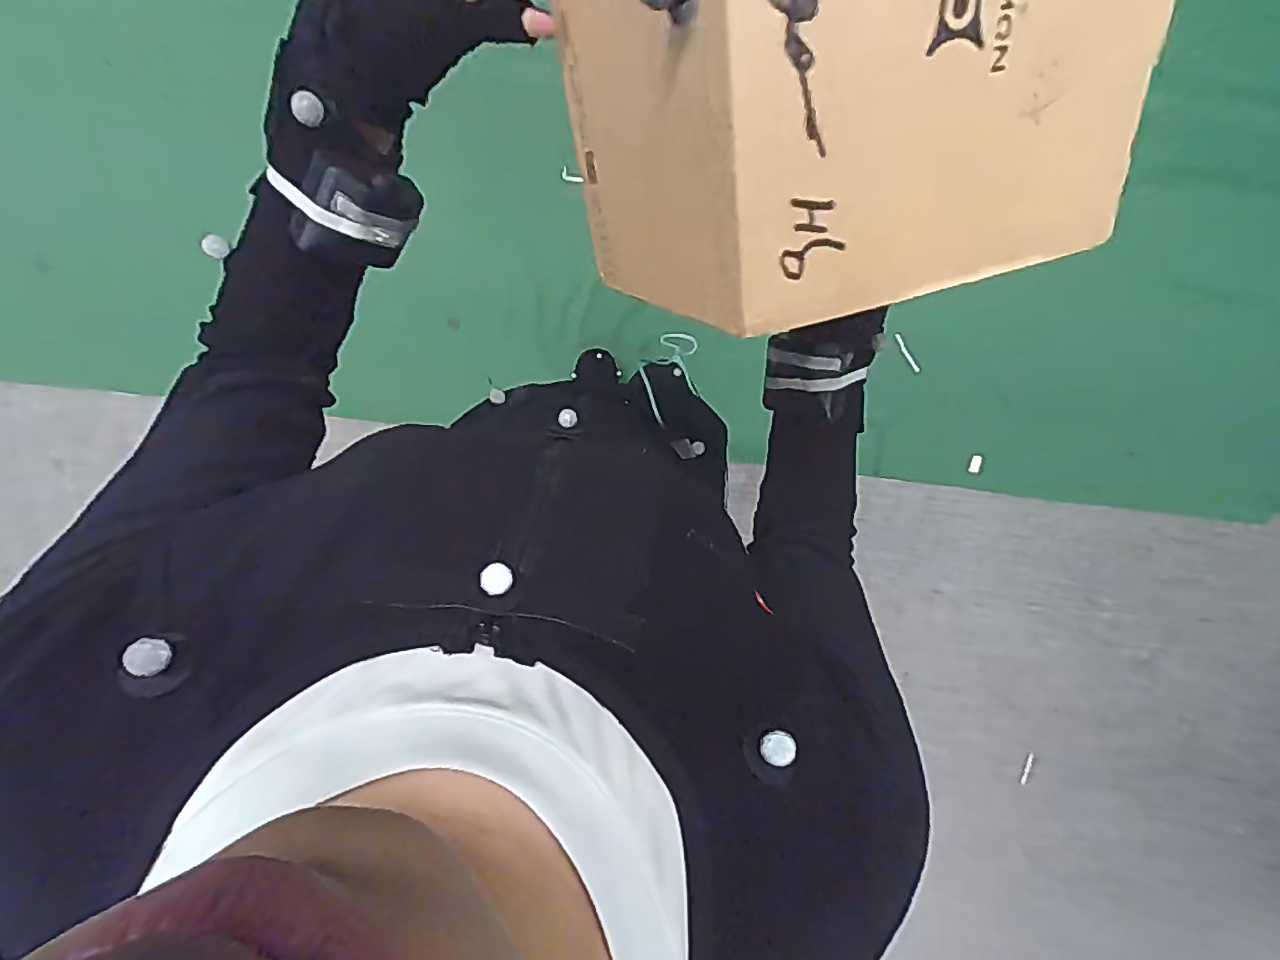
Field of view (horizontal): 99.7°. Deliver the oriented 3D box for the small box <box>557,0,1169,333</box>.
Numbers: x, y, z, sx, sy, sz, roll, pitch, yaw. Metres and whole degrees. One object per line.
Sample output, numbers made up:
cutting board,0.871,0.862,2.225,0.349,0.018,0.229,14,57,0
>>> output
small box,0.077,-0.177,0.231,0.179,0.176,0.168,-18,121,-15
